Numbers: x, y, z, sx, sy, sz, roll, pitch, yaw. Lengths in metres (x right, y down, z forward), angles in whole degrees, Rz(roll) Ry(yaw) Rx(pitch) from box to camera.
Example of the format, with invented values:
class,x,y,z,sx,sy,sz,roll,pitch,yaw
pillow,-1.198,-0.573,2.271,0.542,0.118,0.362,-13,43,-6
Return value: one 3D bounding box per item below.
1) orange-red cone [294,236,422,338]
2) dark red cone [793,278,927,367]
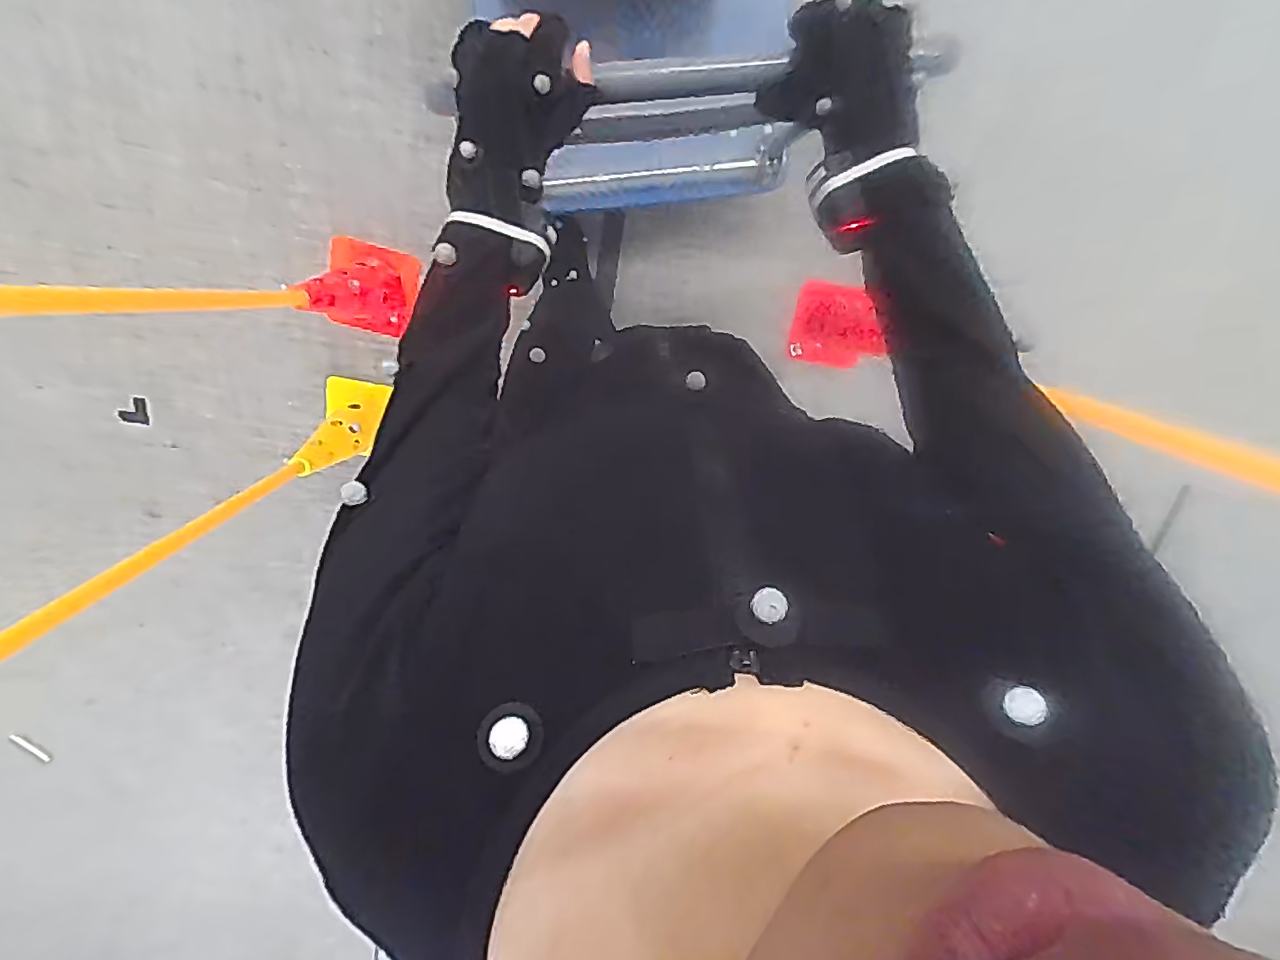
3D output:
class,x,y,z,sx,sy,sz,roll,pitch,yaw
orange-red cone,-0.619,-0.396,1.133,0.198,0.360,0.199,14,109,-10
dark red cone,0.511,-0.334,1.212,0.201,0.394,0.202,6,111,-8
